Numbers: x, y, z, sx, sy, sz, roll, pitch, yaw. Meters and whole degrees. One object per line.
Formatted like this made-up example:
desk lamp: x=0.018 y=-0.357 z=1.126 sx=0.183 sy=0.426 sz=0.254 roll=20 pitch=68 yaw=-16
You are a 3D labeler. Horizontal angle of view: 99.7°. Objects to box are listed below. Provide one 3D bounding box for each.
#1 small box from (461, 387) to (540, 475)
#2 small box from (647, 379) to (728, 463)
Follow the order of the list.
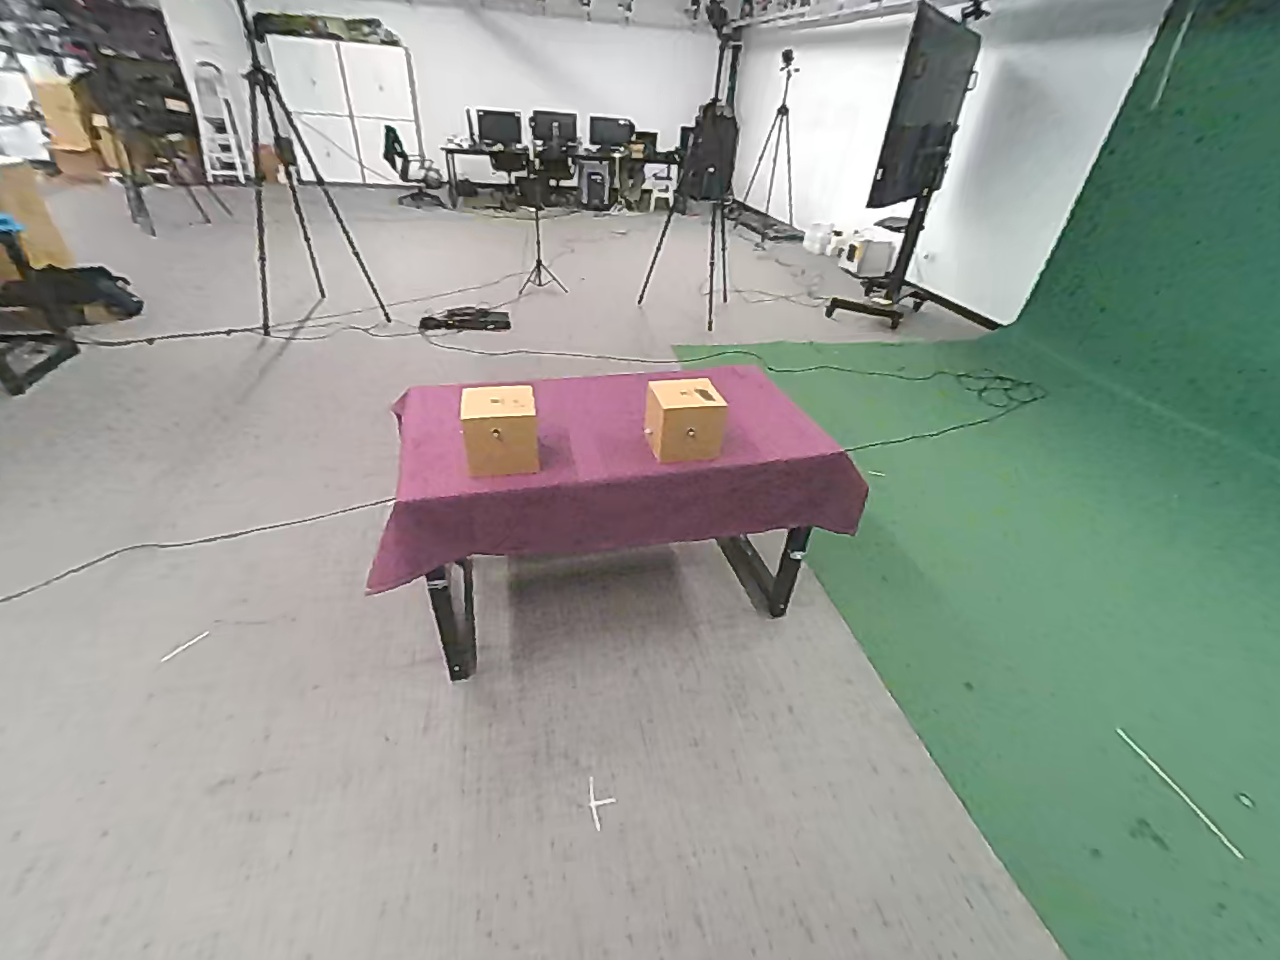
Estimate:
small box: x=-0.351 y=-0.124 z=1.376 sx=0.179 sy=0.176 sz=0.168 roll=-4 pitch=36 yaw=-12
small box: x=0.123 y=-0.162 z=1.479 sx=0.179 sy=0.176 sz=0.168 roll=-6 pitch=36 yaw=-12
